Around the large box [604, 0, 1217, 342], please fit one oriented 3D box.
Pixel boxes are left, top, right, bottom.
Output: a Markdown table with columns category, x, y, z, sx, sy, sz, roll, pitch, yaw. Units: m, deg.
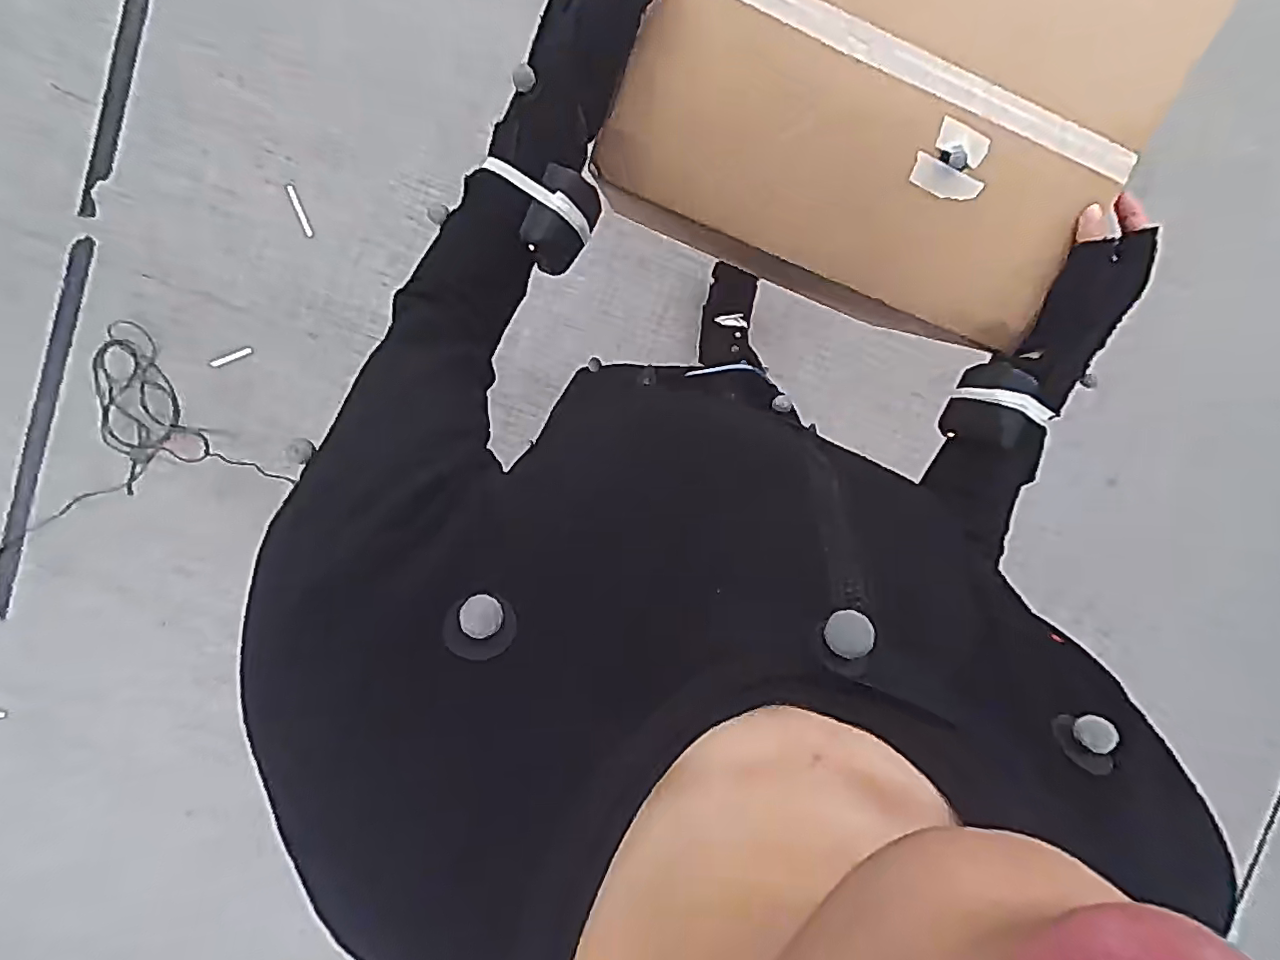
| category | x | y | z | sx | sy | sz | roll | pitch | yaw |
| --- | --- | --- | --- | --- | --- | --- | --- | --- | --- |
| large box | 0.204 | -0.377 | 0.560 | 0.408 | 0.320 | 0.320 | 20 | 111 | -8 |
